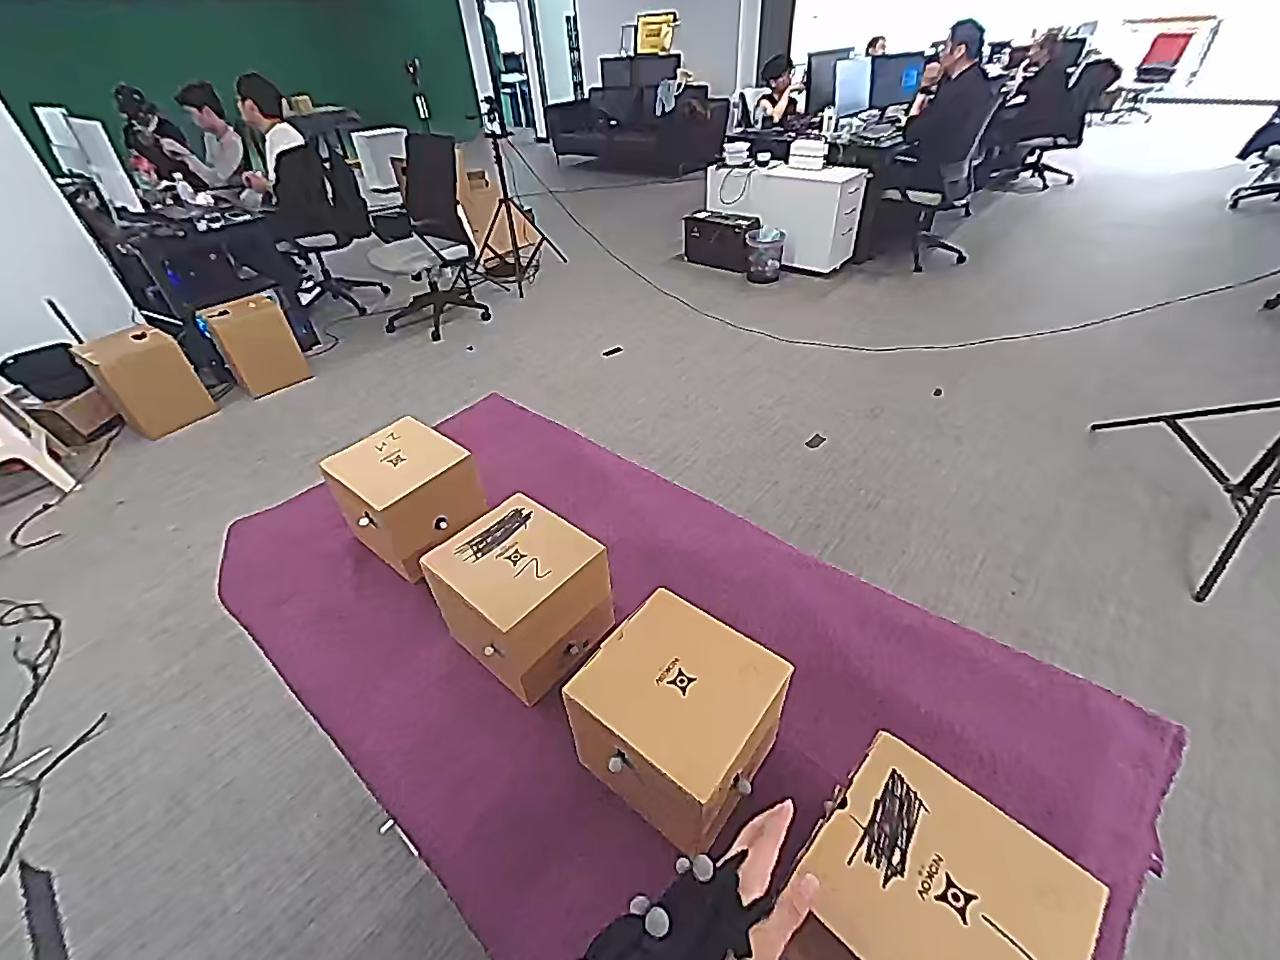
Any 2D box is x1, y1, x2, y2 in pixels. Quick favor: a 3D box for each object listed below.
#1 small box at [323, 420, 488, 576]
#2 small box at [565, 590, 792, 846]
[{"bbox_3d":[-0.379,0.033,0.902,0.179,0.176,0.168,27,48,29],"label":"small box"},{"bbox_3d":[0.044,0.264,0.599,0.179,0.176,0.168,25,48,31],"label":"small box"}]
